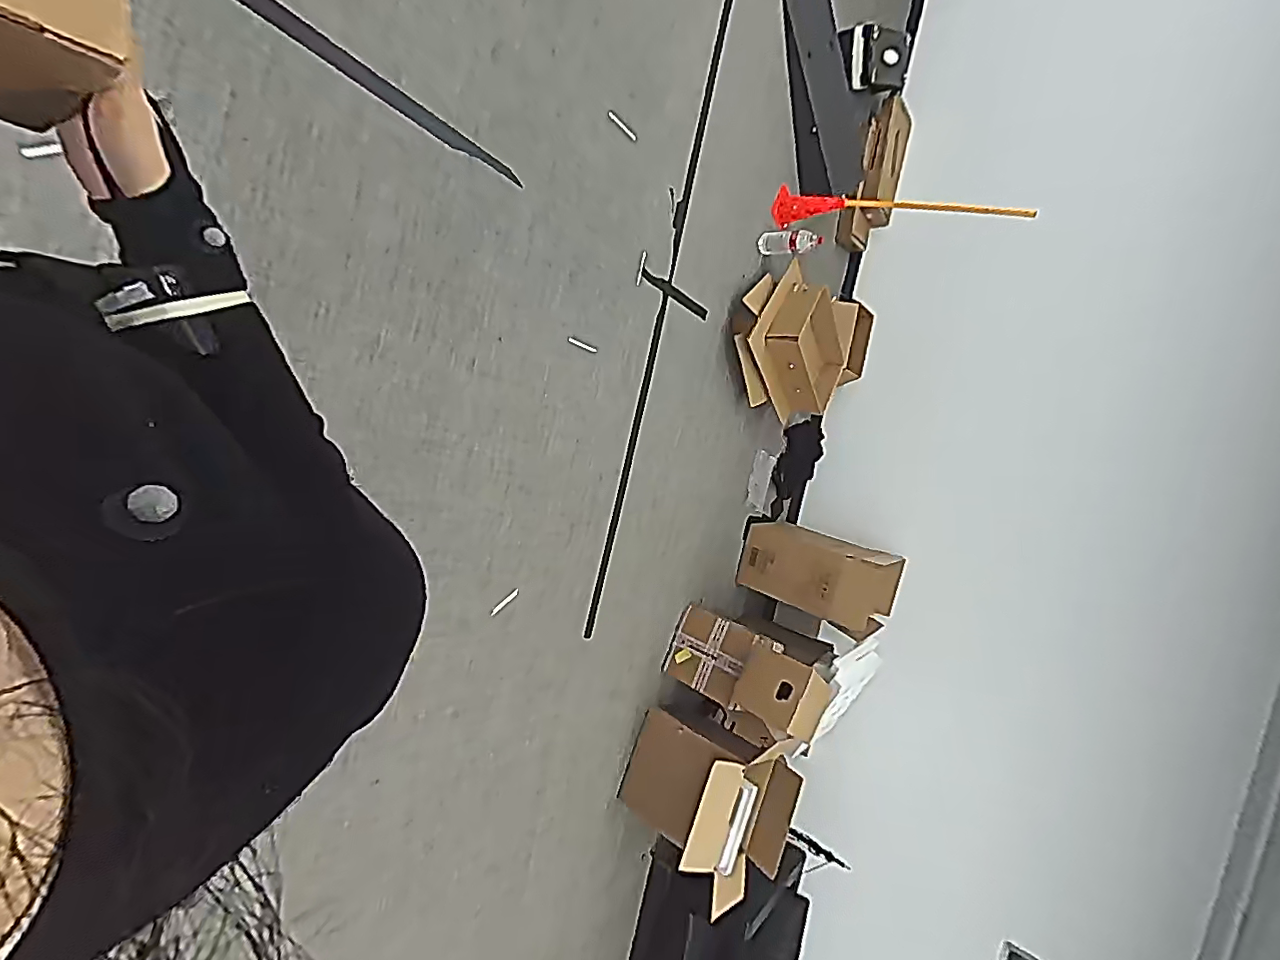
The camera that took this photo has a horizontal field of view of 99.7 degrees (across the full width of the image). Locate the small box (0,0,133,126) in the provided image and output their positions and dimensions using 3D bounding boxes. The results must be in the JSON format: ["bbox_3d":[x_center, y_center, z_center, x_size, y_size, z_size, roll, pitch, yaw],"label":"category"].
[{"bbox_3d":[-0.369,-0.301,0.250,0.168,0.176,0.179,-7,104,-57],"label":"small box"}]
